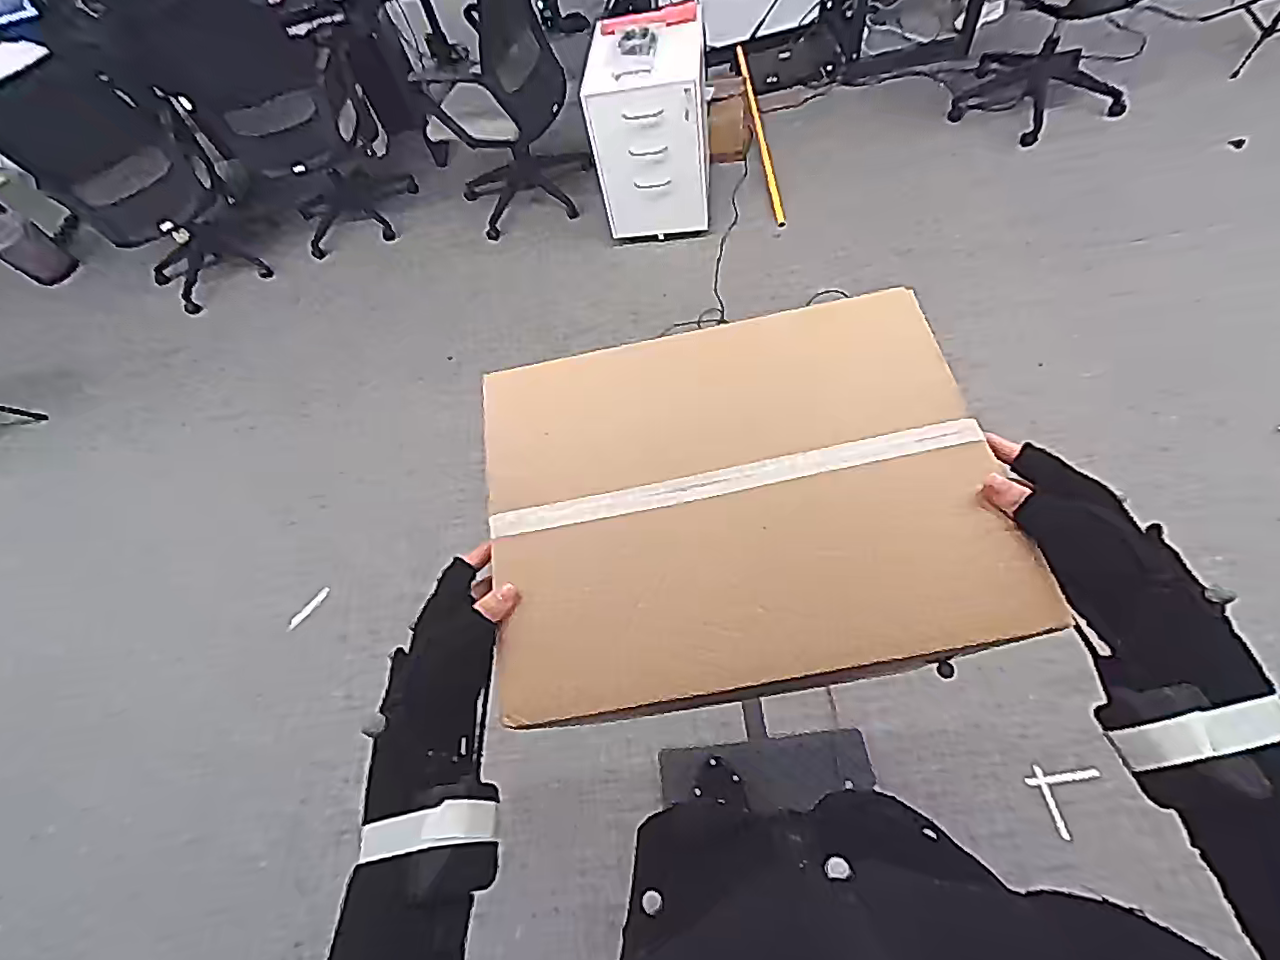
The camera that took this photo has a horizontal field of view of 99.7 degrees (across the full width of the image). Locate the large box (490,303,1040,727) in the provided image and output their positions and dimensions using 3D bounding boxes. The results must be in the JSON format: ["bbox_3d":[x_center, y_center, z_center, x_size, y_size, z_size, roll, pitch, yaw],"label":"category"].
[{"bbox_3d":[0.091,0.066,0.592,0.408,0.320,0.320,-11,65,2],"label":"large box"}]

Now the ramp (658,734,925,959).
[{"bbox_3d":[0.312,1.028,1.002,0.509,0.206,0.991,-11,59,5],"label":"ramp"}]
